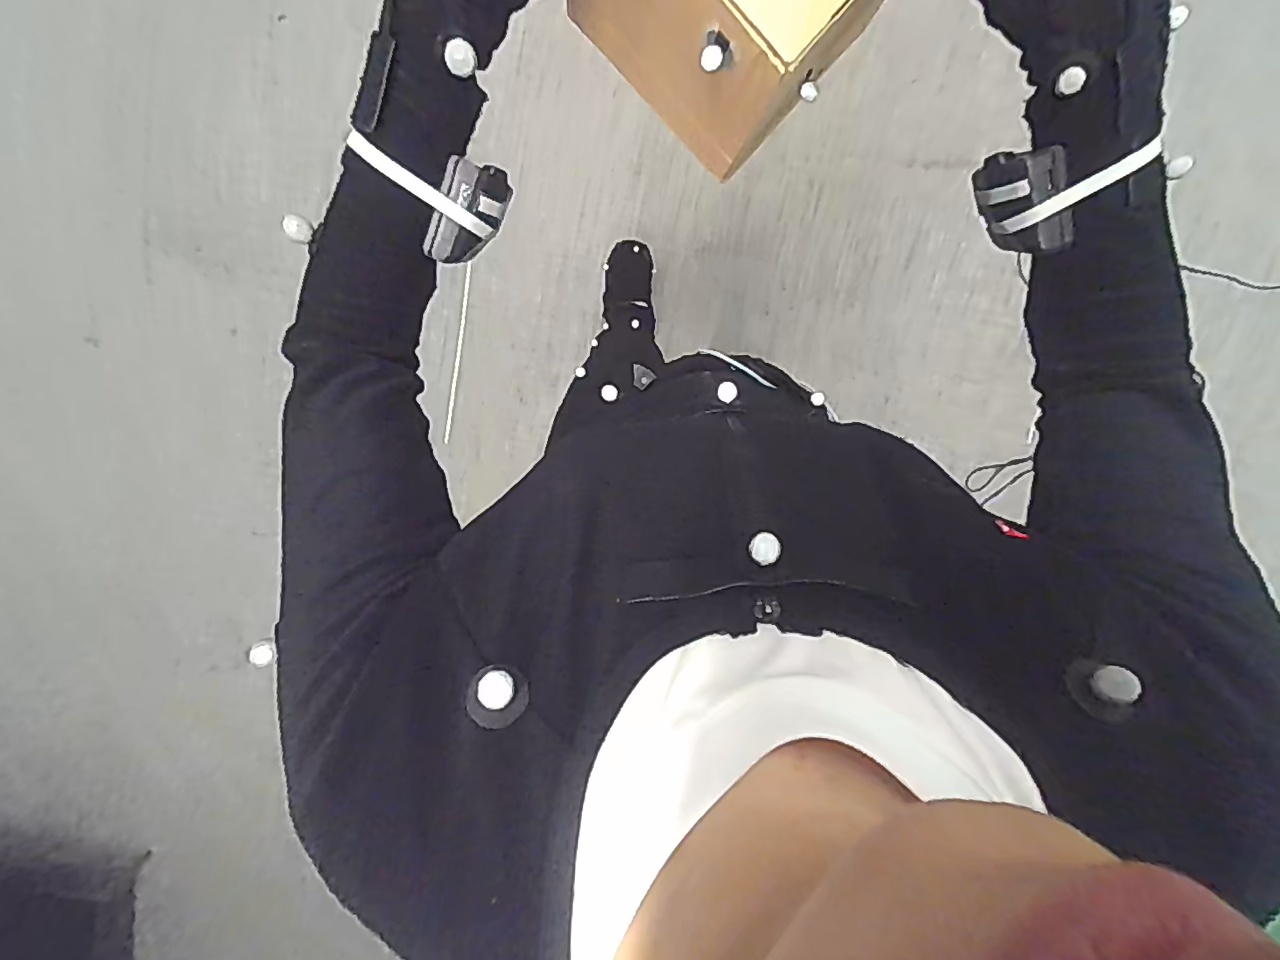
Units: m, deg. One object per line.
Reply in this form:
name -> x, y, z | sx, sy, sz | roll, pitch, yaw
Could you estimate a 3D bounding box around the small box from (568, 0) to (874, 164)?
small box -> 0.062, -0.354, 0.351 | 0.179, 0.176, 0.168 | 44, 94, -12
